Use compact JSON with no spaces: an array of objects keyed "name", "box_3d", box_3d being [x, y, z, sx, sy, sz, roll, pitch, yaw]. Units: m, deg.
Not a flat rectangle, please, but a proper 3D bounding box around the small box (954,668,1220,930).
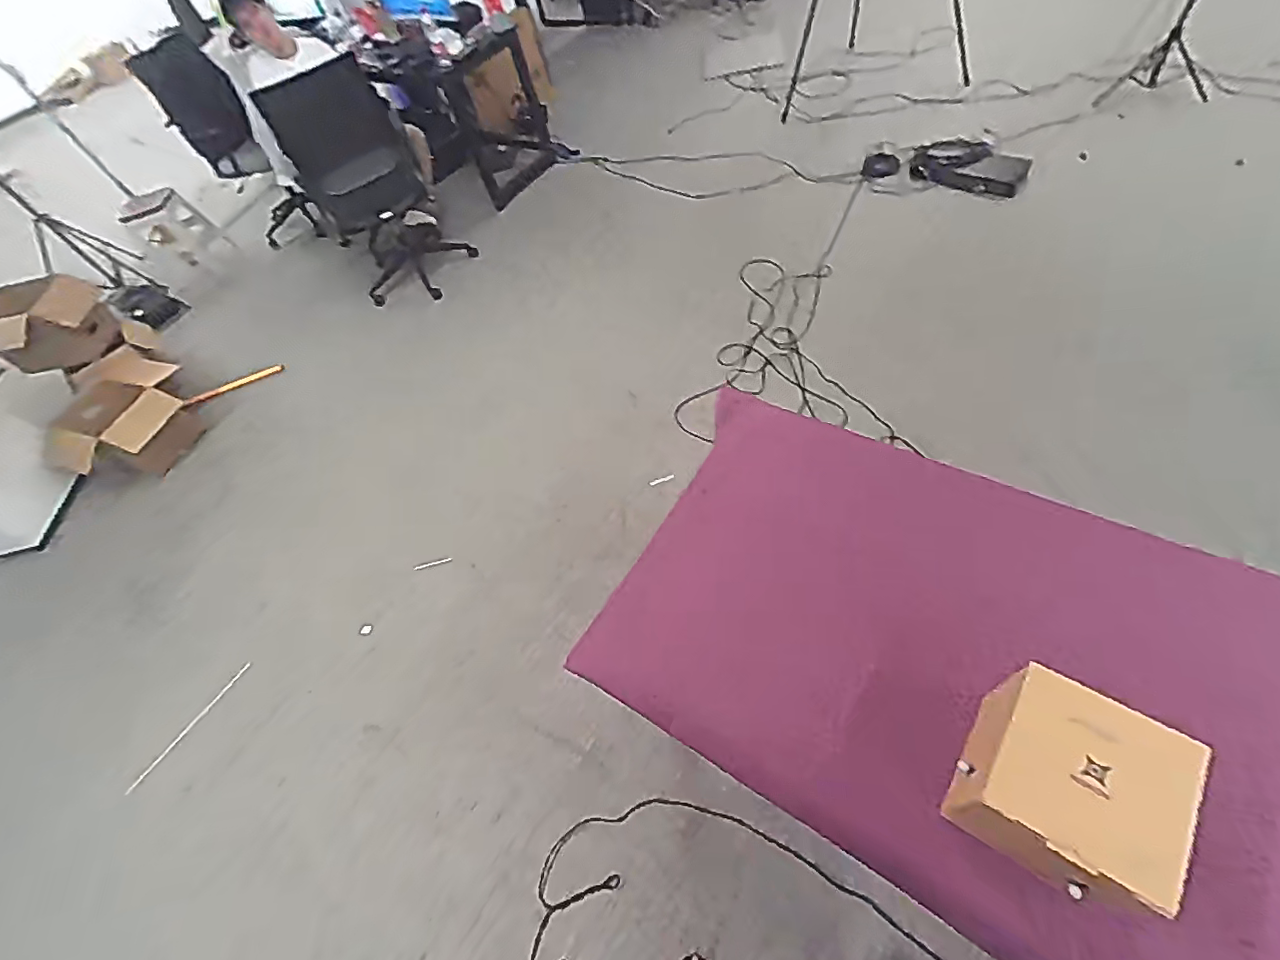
[{"name":"small box","box_3d":[0.483,0.354,0.612,0.168,0.176,0.179,27,65,28]}]
